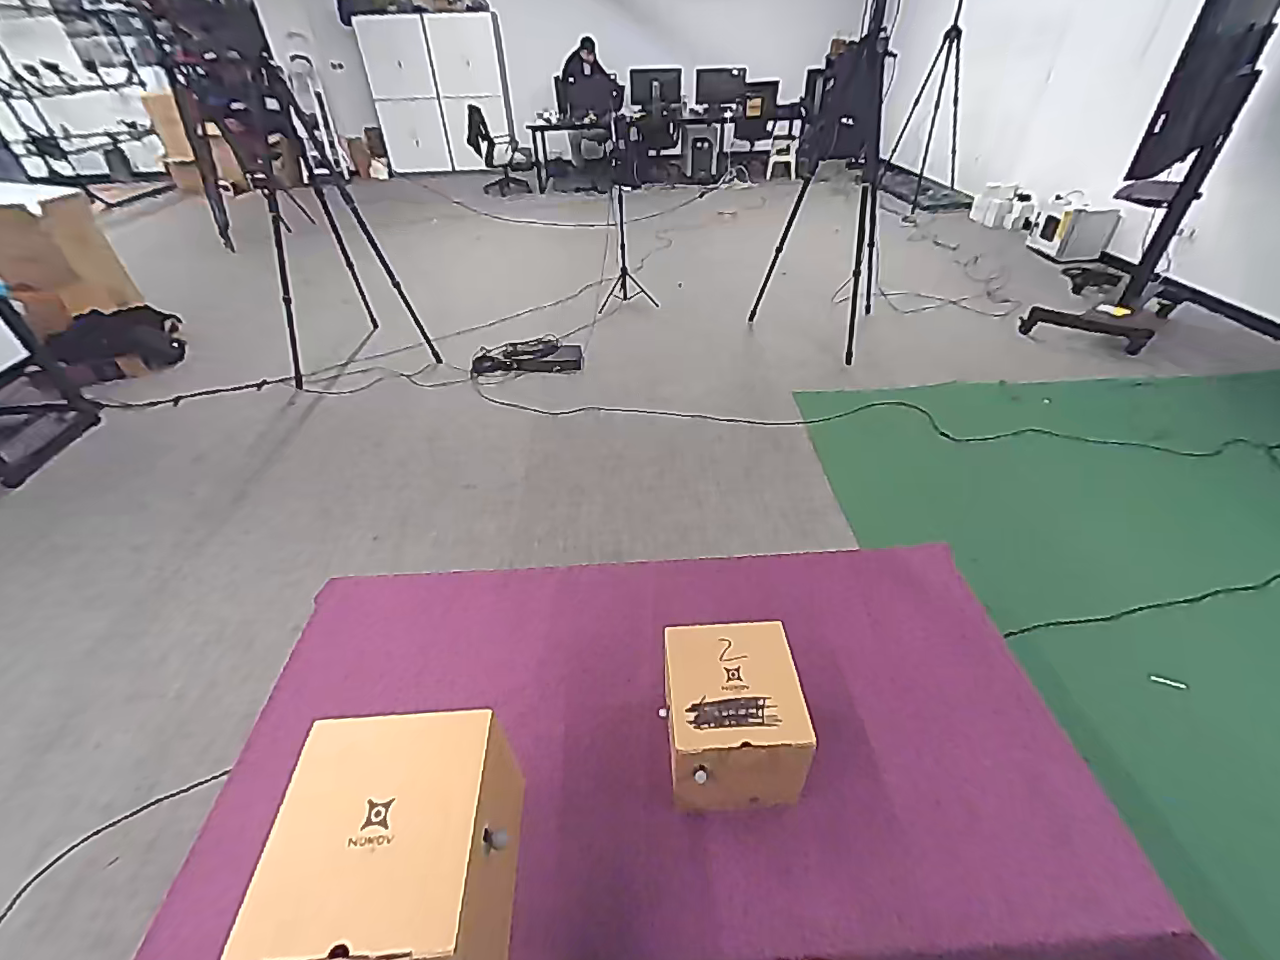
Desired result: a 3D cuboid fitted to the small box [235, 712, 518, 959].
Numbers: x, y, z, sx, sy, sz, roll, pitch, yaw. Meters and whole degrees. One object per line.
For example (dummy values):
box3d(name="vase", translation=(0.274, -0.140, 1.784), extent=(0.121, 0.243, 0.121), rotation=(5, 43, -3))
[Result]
box3d(name="small box", translation=(-0.215, 0.342, 0.505), extent=(0.168, 0.176, 0.179), rotation=(-3, 43, -1))
